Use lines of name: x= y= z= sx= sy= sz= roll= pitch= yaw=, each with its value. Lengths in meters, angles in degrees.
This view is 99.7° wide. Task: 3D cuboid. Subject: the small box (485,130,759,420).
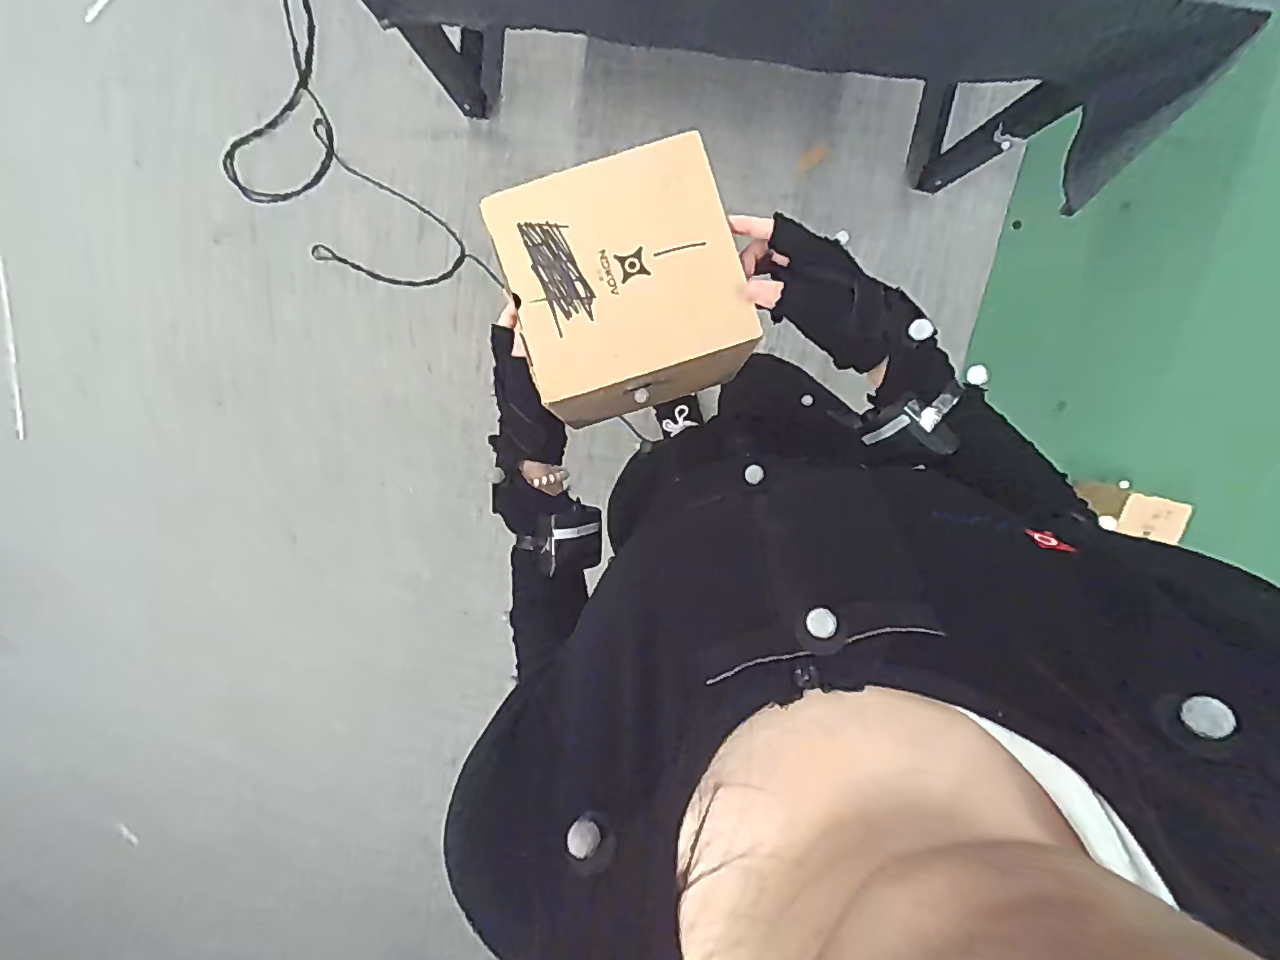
small box: x=-0.013 y=-0.161 z=0.488 sx=0.179 sy=0.176 sz=0.168 roll=-17 pitch=89 yaw=0
